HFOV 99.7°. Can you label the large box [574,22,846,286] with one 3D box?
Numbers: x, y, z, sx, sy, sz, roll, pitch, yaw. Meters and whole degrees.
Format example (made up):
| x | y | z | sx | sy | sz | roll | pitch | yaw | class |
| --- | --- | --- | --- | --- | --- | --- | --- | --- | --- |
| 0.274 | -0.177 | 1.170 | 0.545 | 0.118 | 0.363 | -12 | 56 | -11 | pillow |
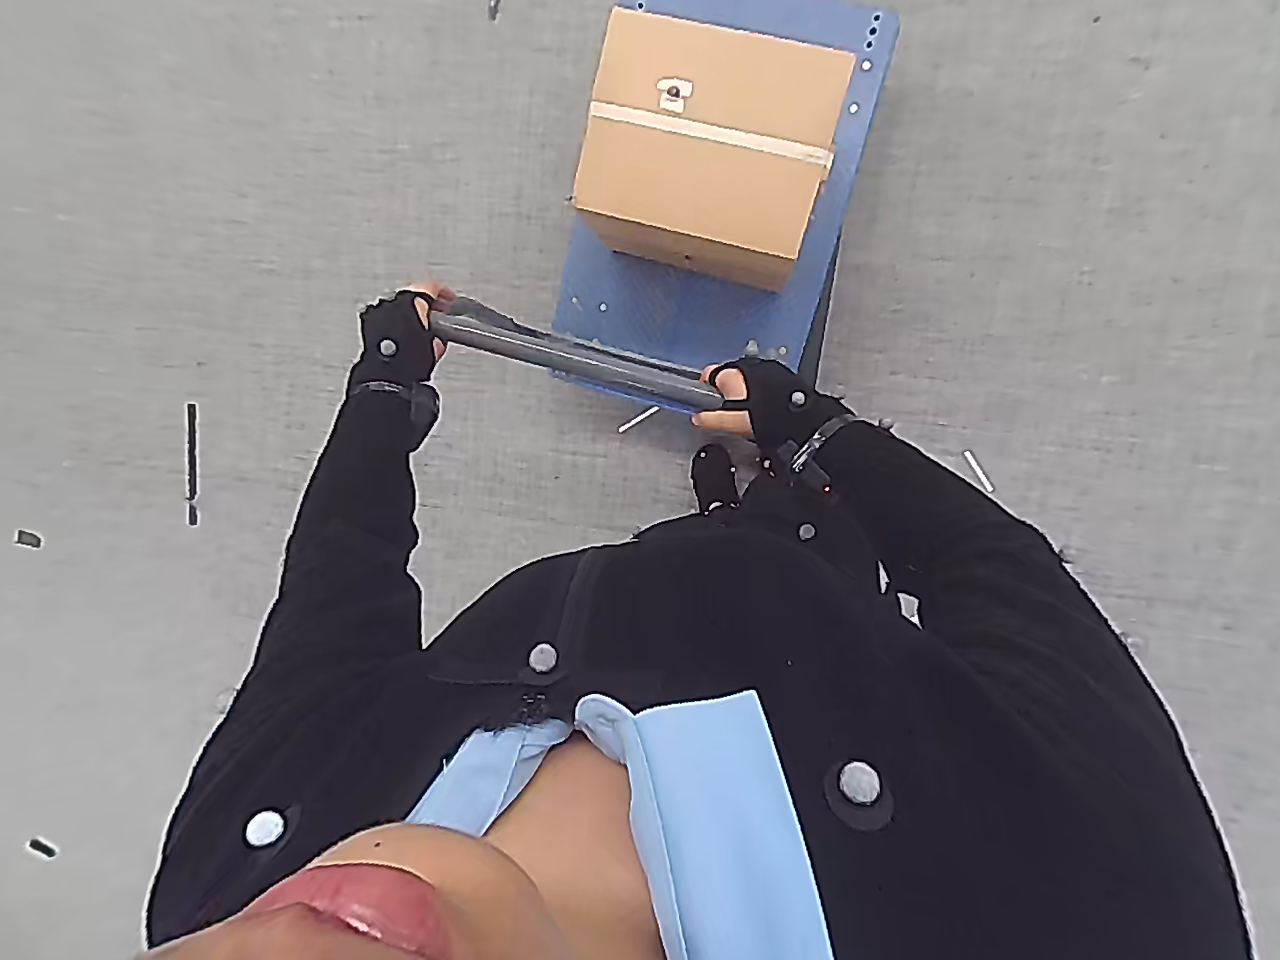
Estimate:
| x | y | z | sx | sy | sz | roll | pitch | yaw | class |
| --- | --- | --- | --- | --- | --- | --- | --- | --- | --- |
| 0.134 | -0.599 | 1.056 | 0.408 | 0.320 | 0.320 | 17 | 101 | 8 | large box |
